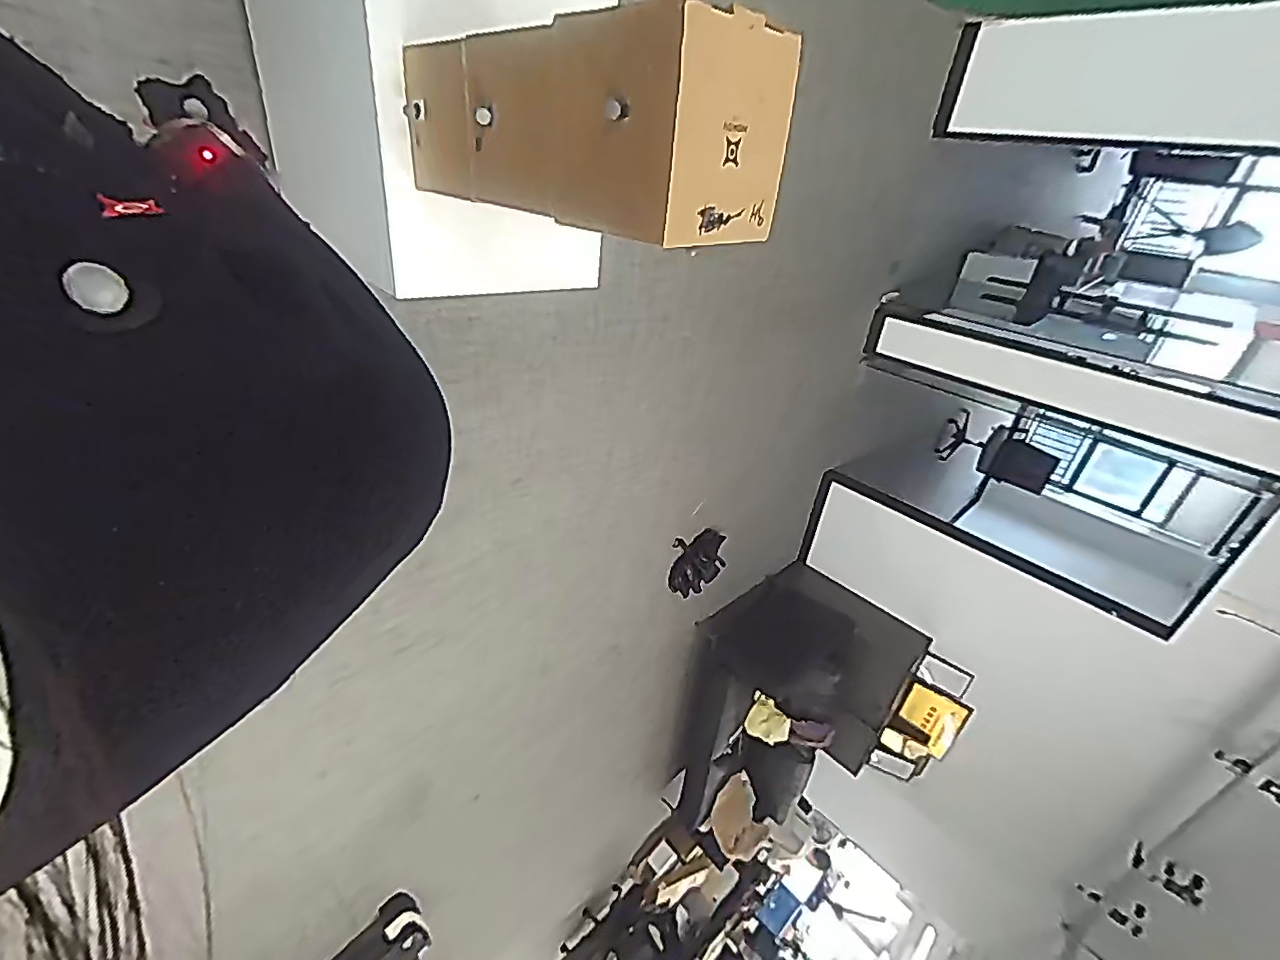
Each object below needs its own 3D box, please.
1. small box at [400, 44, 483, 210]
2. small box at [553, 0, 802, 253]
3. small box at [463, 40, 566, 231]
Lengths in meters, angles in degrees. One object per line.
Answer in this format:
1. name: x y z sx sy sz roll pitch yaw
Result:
1. small box: -0.195 -0.464 0.727 0.179 0.176 0.168 -21 129 -37
2. small box: 0.027 -0.328 0.527 0.168 0.176 0.179 -23 130 -37
3. small box: -0.080 -0.396 0.631 0.179 0.176 0.168 -26 133 -38
